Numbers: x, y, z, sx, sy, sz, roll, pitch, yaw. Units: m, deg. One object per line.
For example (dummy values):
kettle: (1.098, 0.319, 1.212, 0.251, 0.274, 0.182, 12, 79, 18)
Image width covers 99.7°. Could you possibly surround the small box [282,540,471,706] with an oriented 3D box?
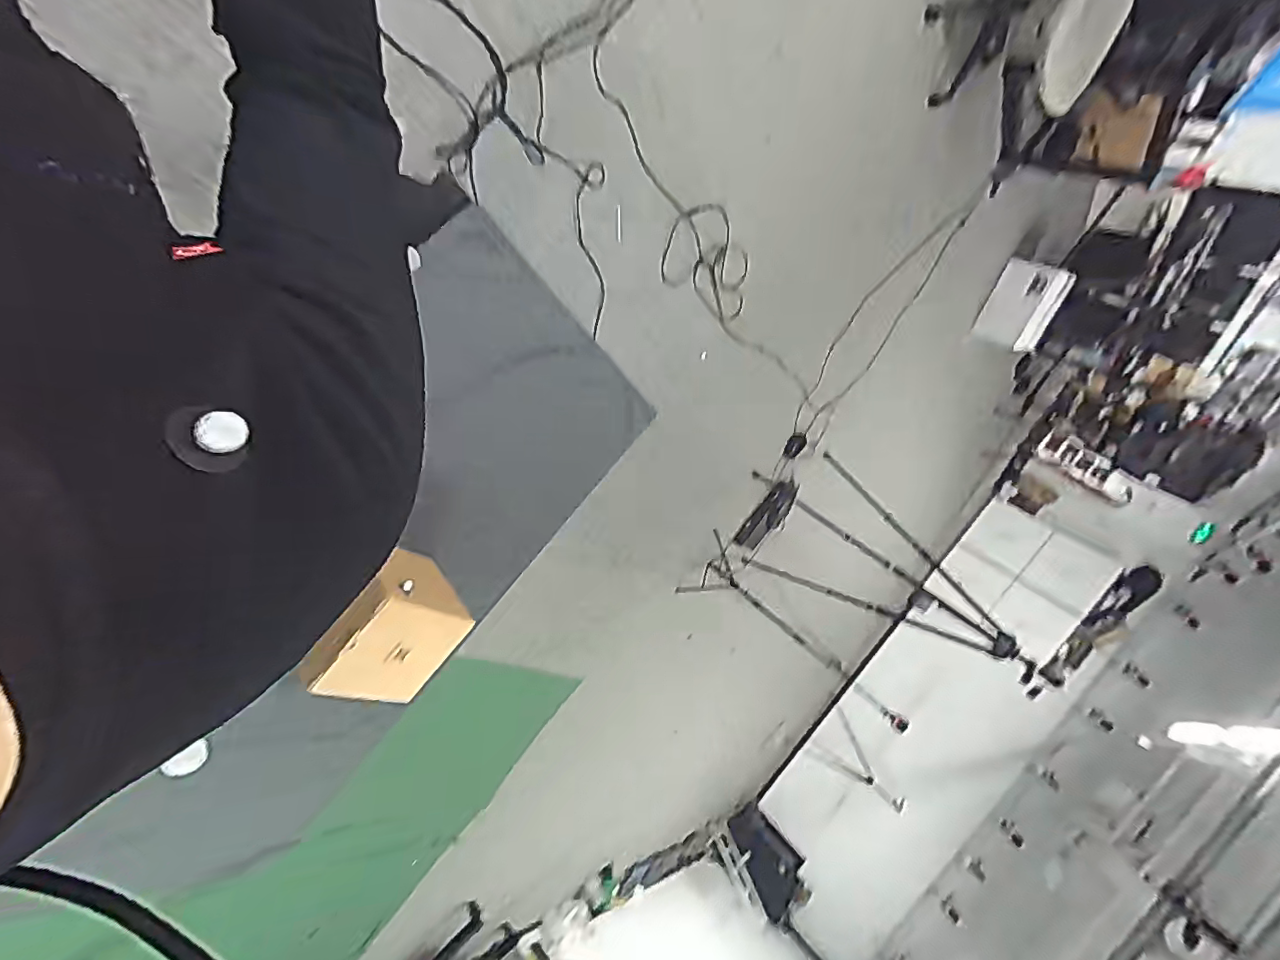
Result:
small box: (-0.404, 0.218, 0.832, 0.168, 0.176, 0.179, -50, 143, -2)
